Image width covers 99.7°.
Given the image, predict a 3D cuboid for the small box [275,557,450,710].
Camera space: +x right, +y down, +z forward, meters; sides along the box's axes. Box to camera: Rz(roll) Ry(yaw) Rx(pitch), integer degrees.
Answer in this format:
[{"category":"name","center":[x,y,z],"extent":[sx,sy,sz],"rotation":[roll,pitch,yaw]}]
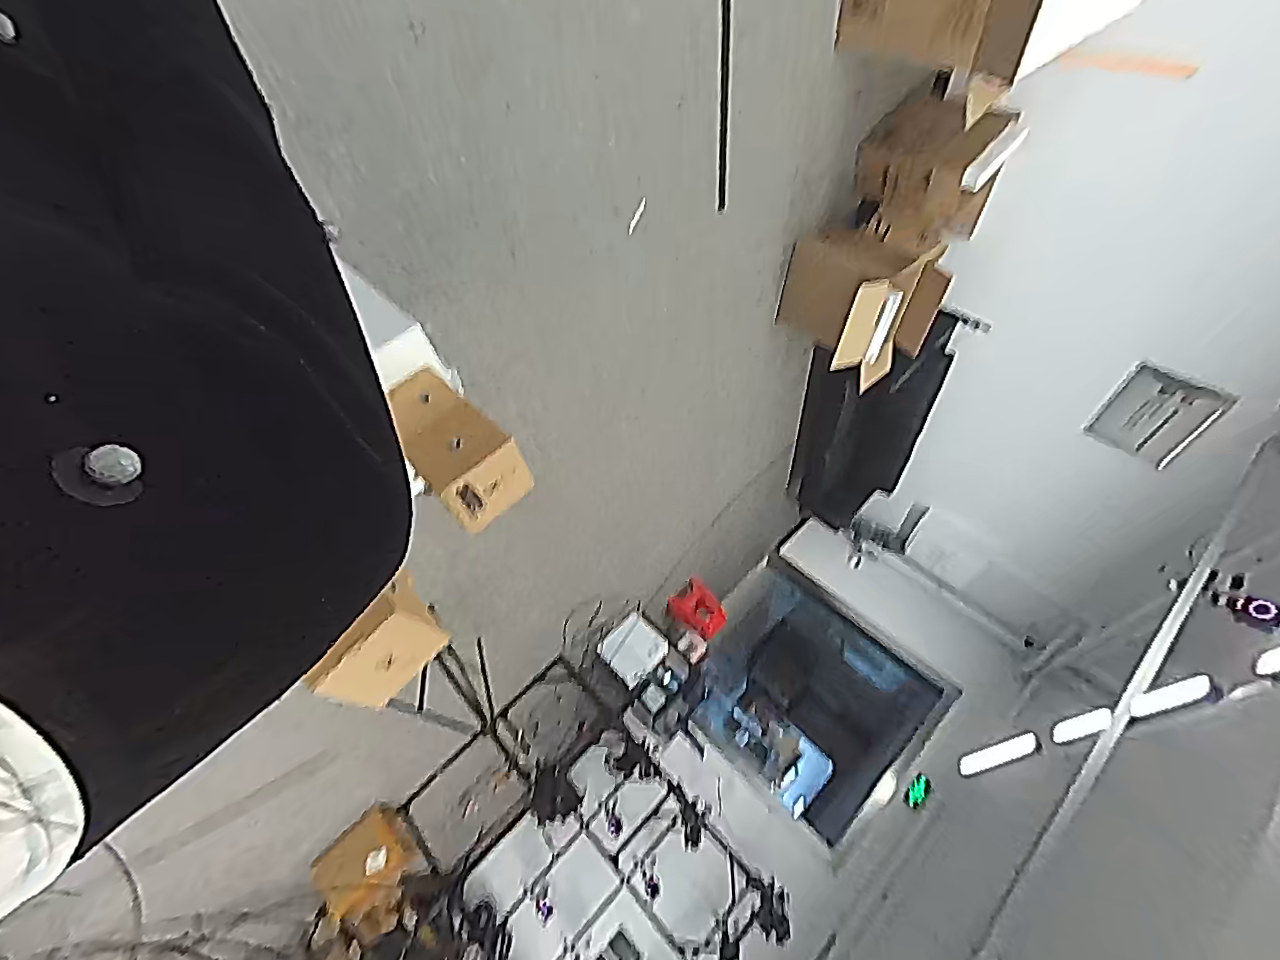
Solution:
[{"category":"small box","center":[-0.470,0.258,0.923],"extent":[0.168,0.176,0.179],"rotation":[-45,152,-14]}]

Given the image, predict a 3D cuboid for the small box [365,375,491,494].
[{"category":"small box","center":[-0.470,-0.109,1.201],"extent":[0.168,0.176,0.179],"rotation":[-41,151,-19]}]
